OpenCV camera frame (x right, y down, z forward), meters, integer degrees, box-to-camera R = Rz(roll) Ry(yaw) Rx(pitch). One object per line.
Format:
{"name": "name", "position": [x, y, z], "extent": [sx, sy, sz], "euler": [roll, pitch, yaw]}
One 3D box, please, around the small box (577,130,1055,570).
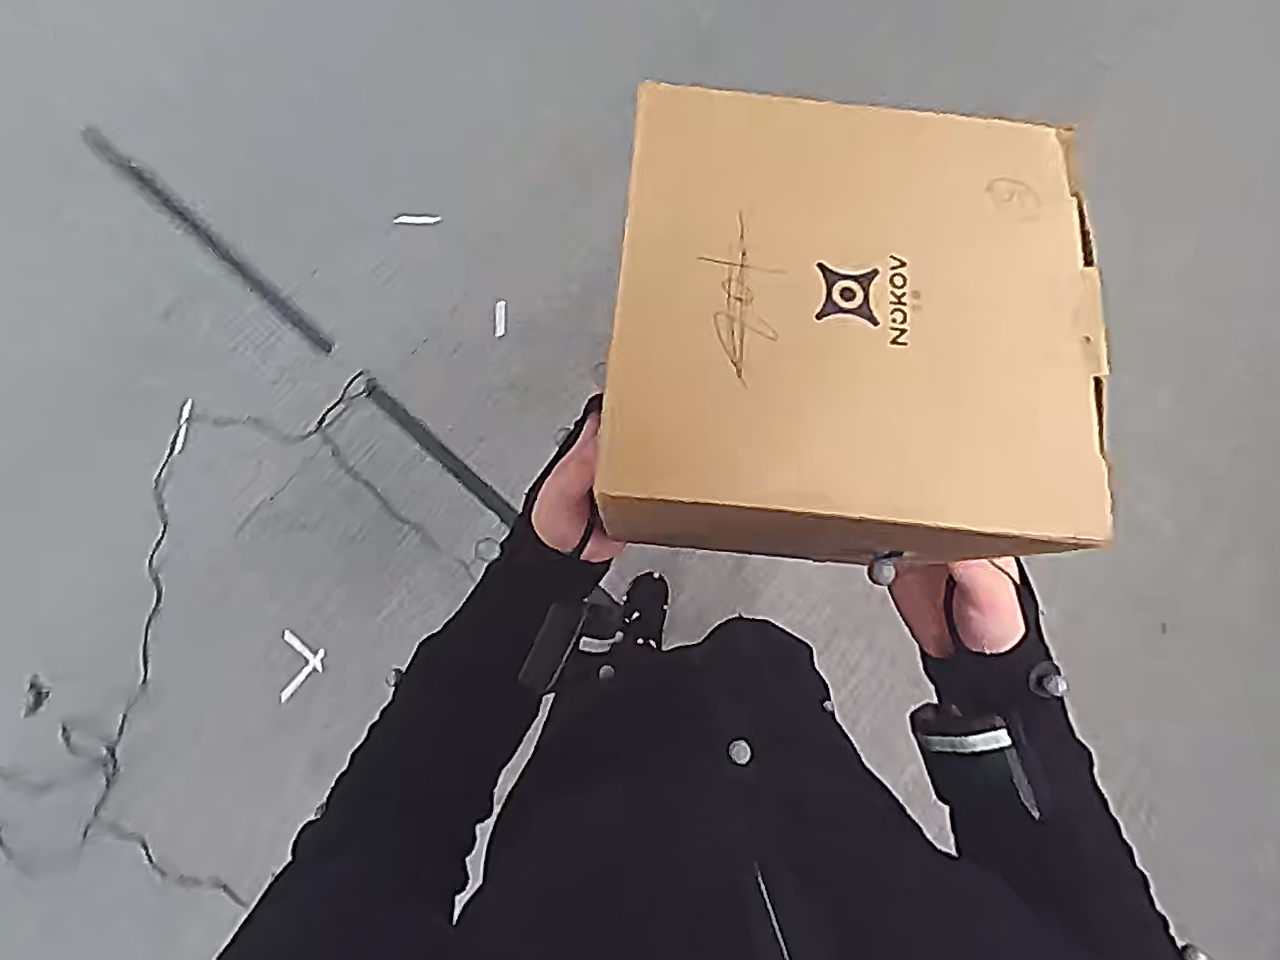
{"name": "small box", "position": [0.068, -0.043, 0.289], "extent": [0.179, 0.176, 0.168], "euler": [4, 77, 0]}
